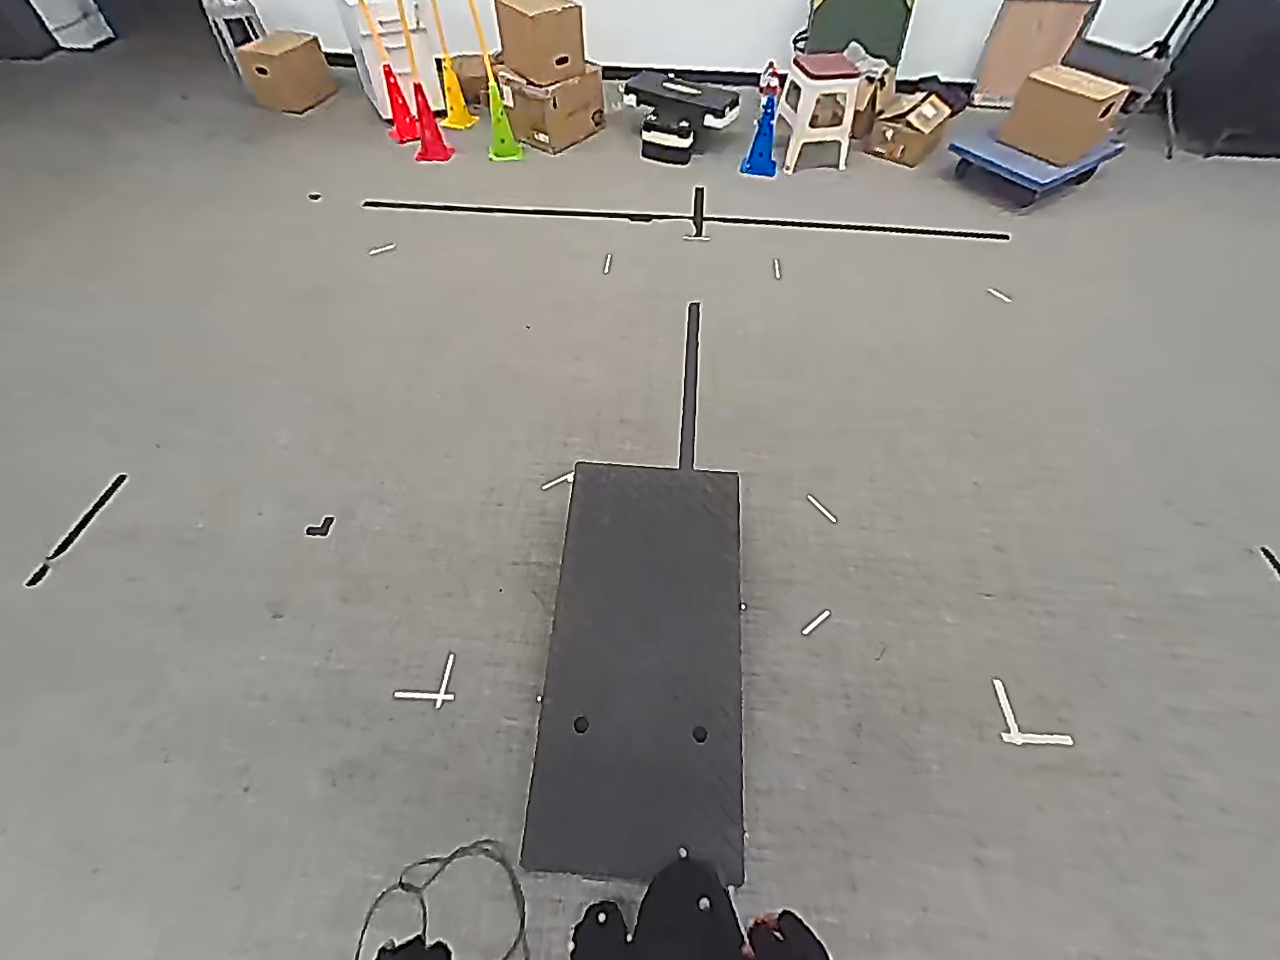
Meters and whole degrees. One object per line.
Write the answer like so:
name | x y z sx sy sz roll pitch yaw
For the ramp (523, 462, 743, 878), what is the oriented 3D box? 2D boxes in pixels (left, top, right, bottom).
ramp | 0.018 0.408 1.400 0.509 0.206 0.991 3 54 0
